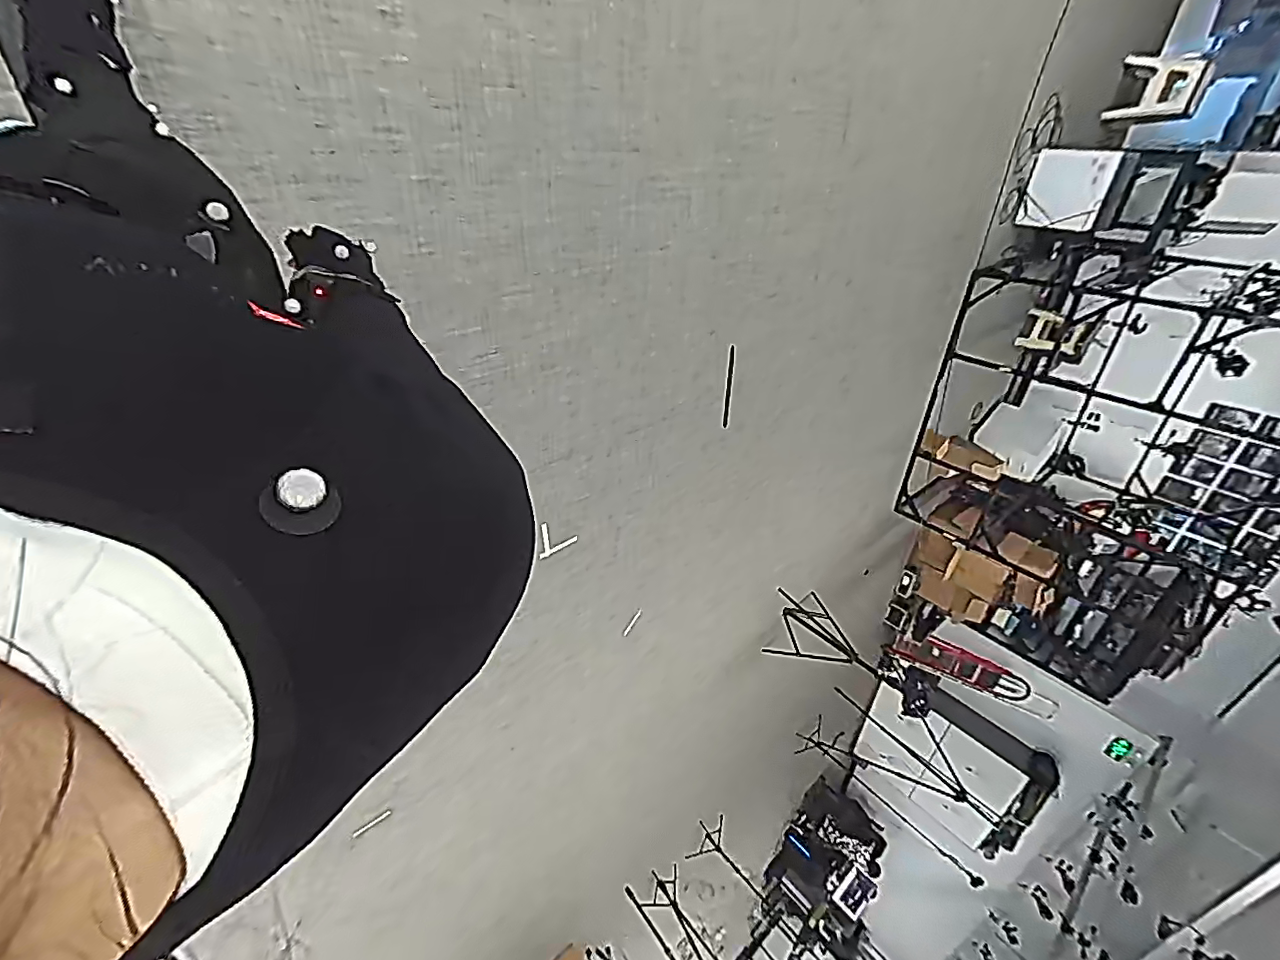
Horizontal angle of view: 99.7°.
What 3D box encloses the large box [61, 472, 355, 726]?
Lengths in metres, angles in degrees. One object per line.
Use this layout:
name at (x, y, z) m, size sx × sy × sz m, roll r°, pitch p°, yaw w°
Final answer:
large box at (-0.950, 0.245, 1.220) m, size 0.408 × 0.320 × 0.320 m, roll -31°, pitch 135°, yaw -30°
